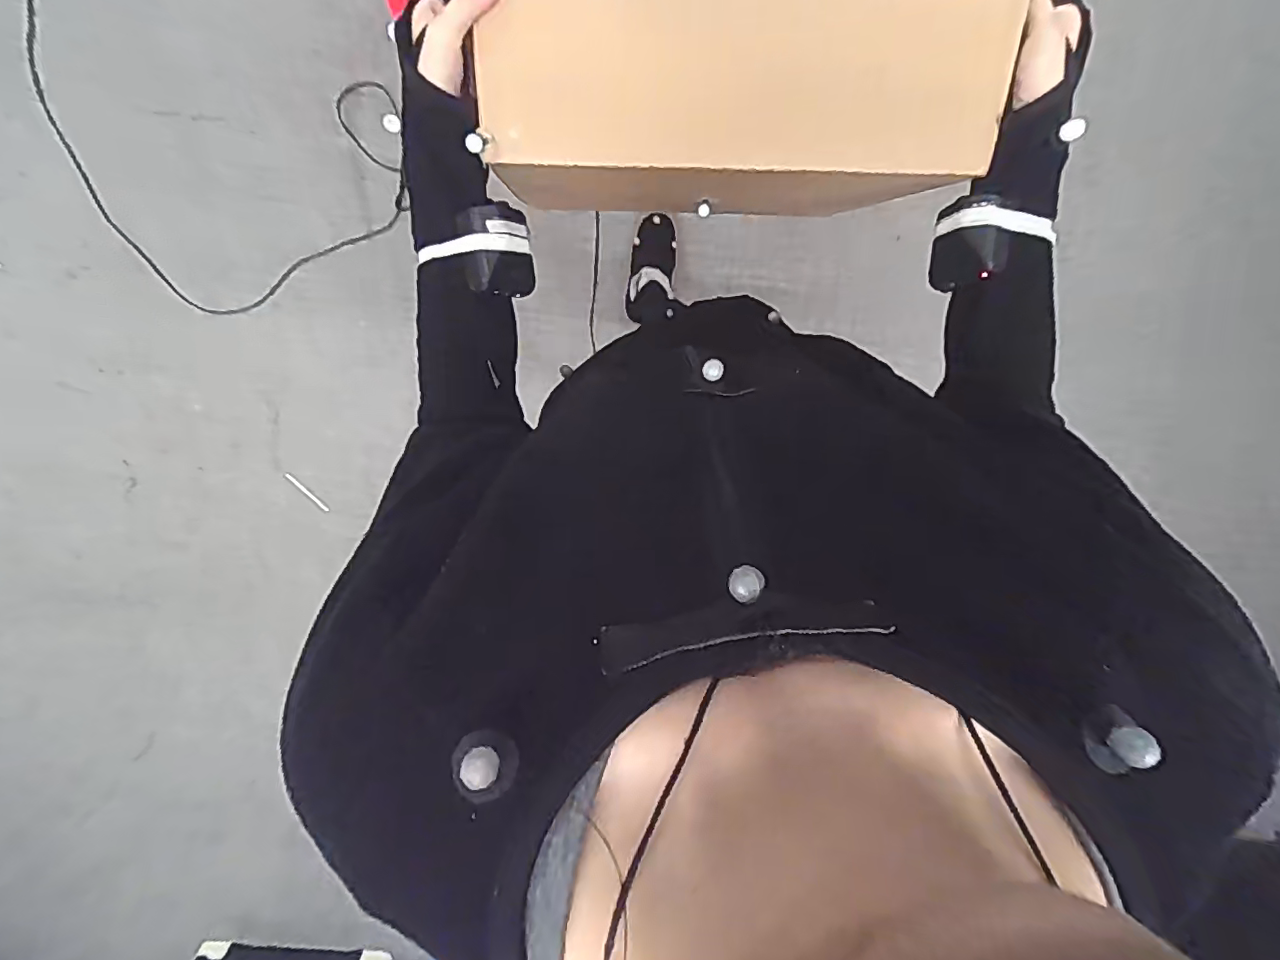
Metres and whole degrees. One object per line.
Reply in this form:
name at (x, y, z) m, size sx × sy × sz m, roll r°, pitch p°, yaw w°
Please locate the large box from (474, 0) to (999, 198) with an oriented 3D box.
large box at (0.068, -0.457, 0.519) m, size 0.408 × 0.320 × 0.320 m, roll -1°, pitch 111°, yaw -4°
